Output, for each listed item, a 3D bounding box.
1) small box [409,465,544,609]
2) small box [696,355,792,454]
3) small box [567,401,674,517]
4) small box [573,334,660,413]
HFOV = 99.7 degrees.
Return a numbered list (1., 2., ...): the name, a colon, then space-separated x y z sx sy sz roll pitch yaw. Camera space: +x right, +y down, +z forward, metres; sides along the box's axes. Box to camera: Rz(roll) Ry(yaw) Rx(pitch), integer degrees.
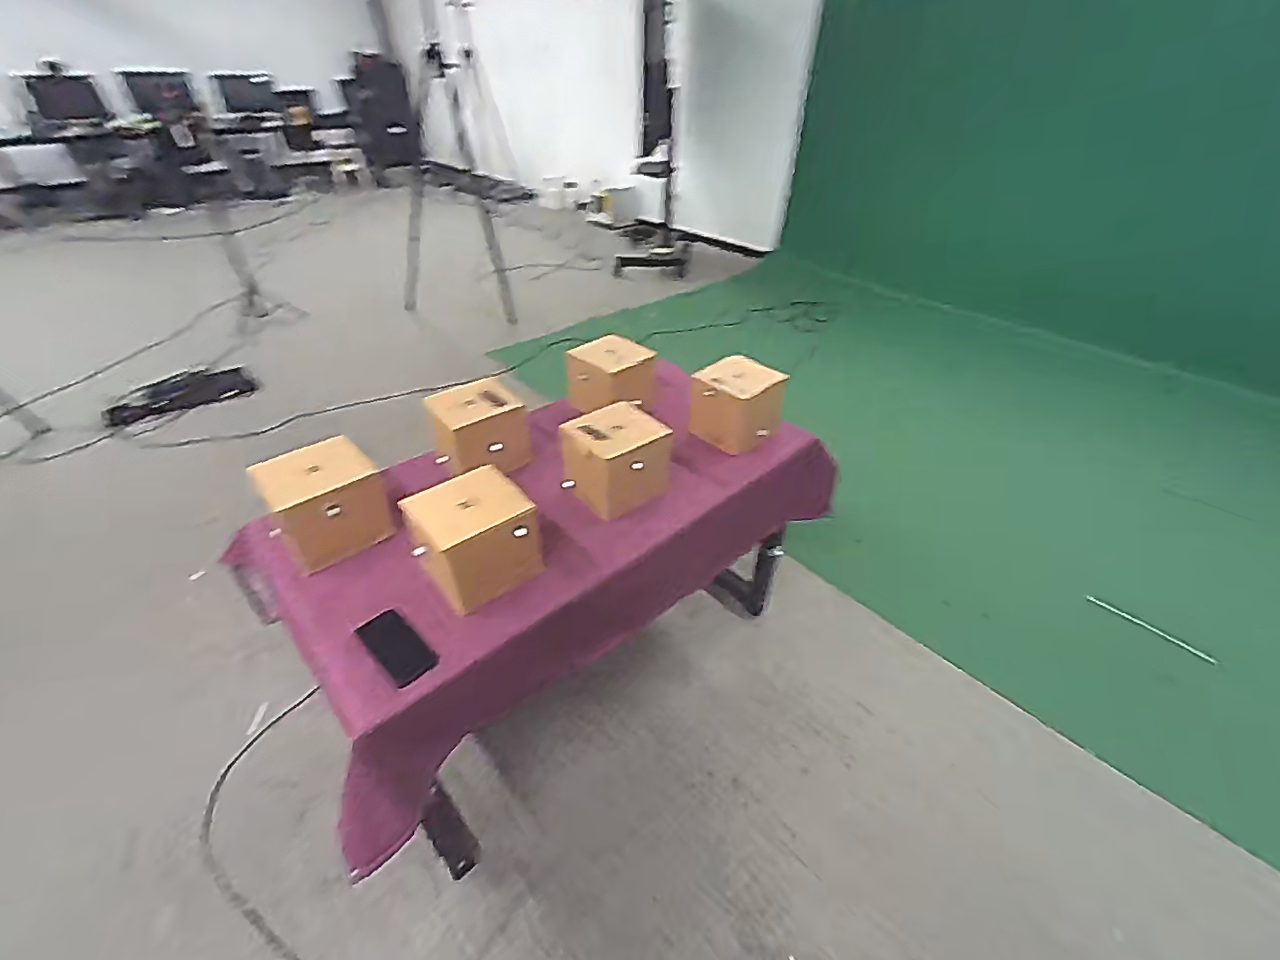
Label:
1. small box: -0.293 0.105 1.000 0.179 0.176 0.168 -27 46 -32
2. small box: 0.260 -0.196 1.393 0.179 0.176 0.168 -30 47 -33
3. small box: -0.042 -0.047 1.197 0.179 0.176 0.168 -25 46 -31
4. small box: -0.065 -0.275 1.481 0.168 0.176 0.179 -32 49 -34
